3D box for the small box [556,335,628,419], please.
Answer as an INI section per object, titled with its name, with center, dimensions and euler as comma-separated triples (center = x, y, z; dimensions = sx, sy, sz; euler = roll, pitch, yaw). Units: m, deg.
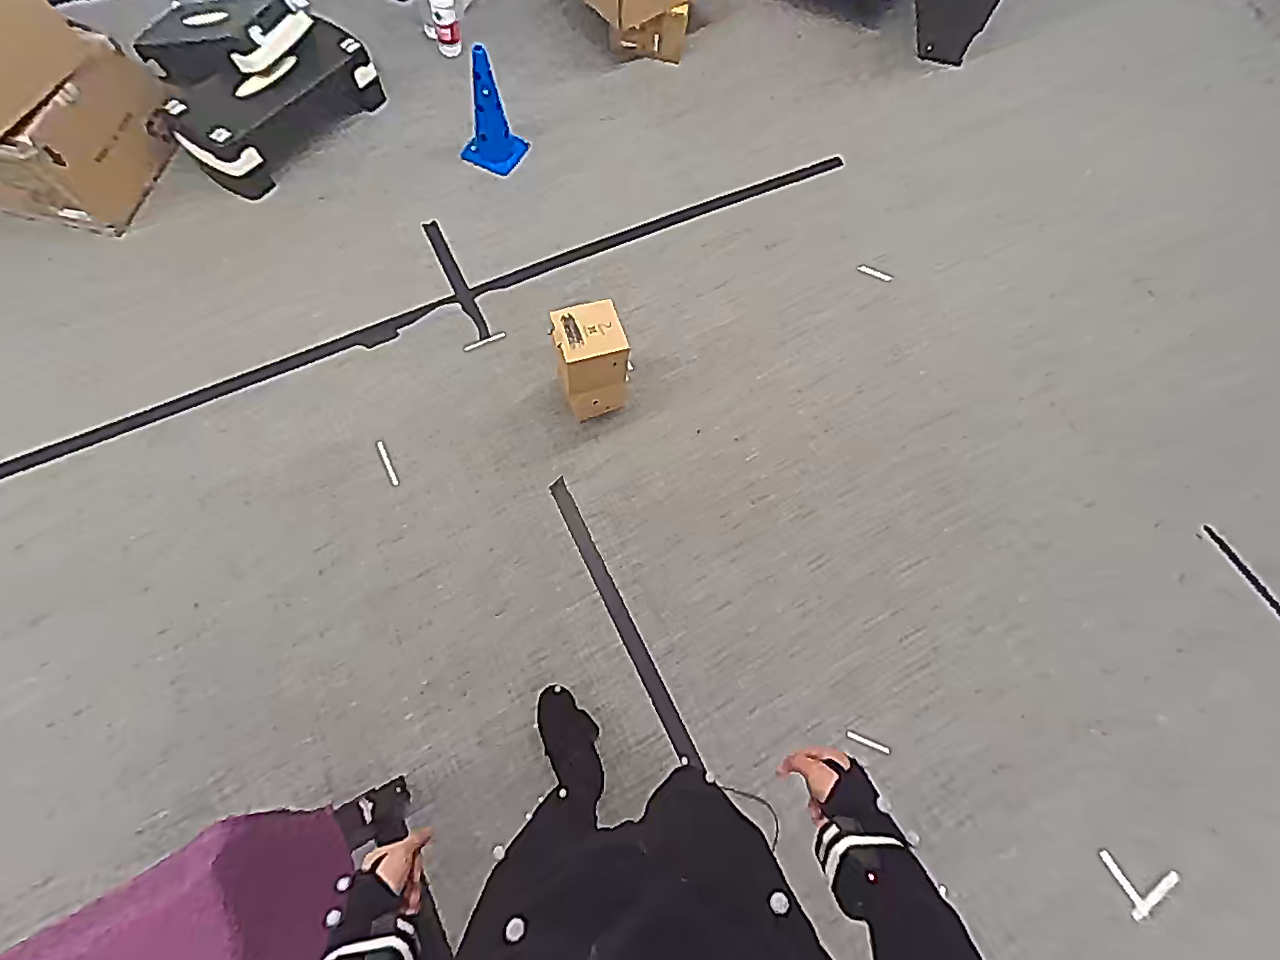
[small box]
center = -0.147, -0.306, 1.653
dimensions = 0.168, 0.176, 0.179
euler = -21, 73, -12
